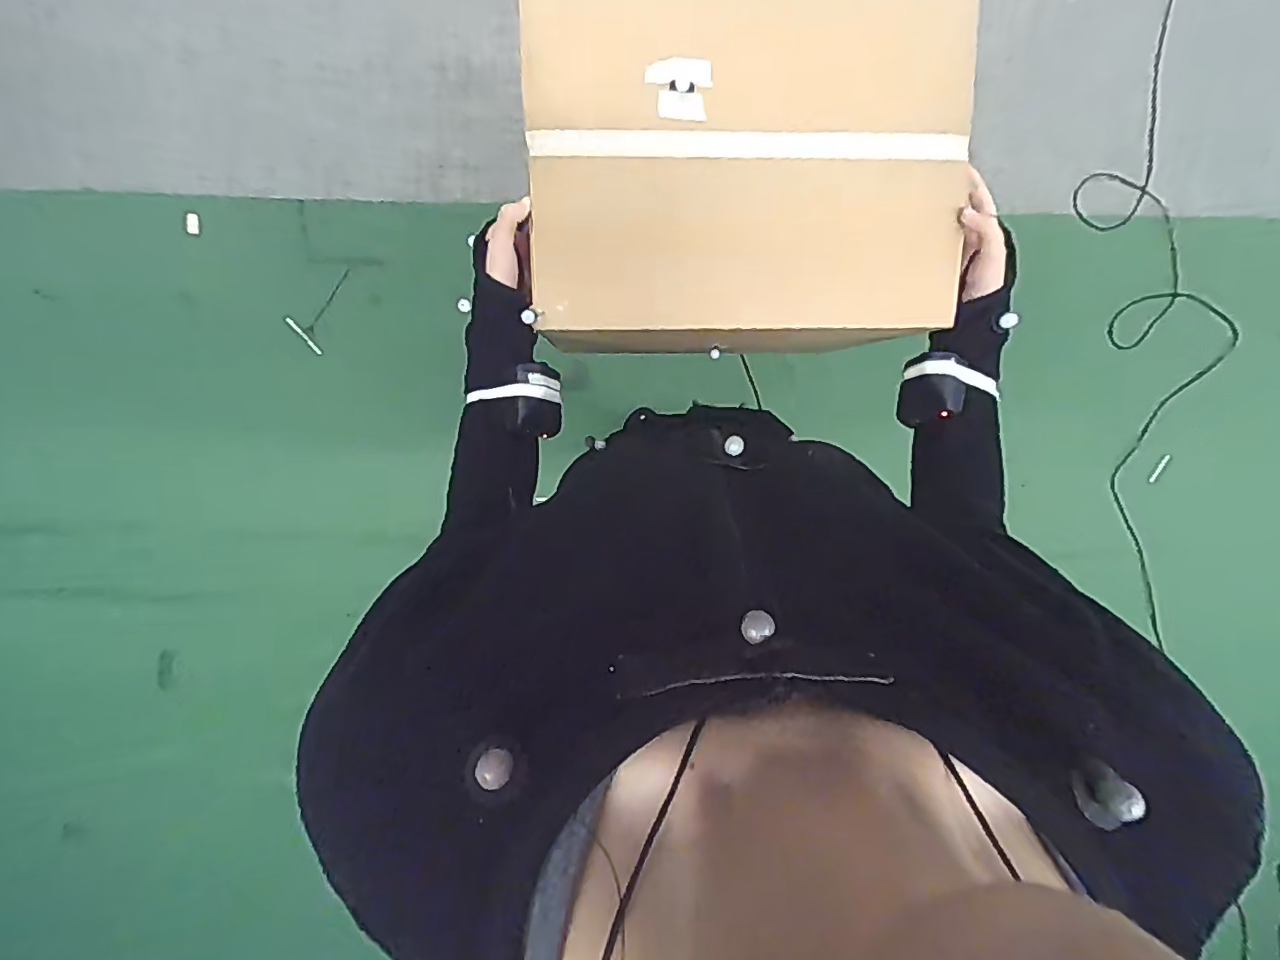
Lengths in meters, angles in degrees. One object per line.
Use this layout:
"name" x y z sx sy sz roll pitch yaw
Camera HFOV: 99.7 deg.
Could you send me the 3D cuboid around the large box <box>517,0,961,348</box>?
"large box" 0.089 -0.327 0.646 0.408 0.320 0.320 -1 99 -3
